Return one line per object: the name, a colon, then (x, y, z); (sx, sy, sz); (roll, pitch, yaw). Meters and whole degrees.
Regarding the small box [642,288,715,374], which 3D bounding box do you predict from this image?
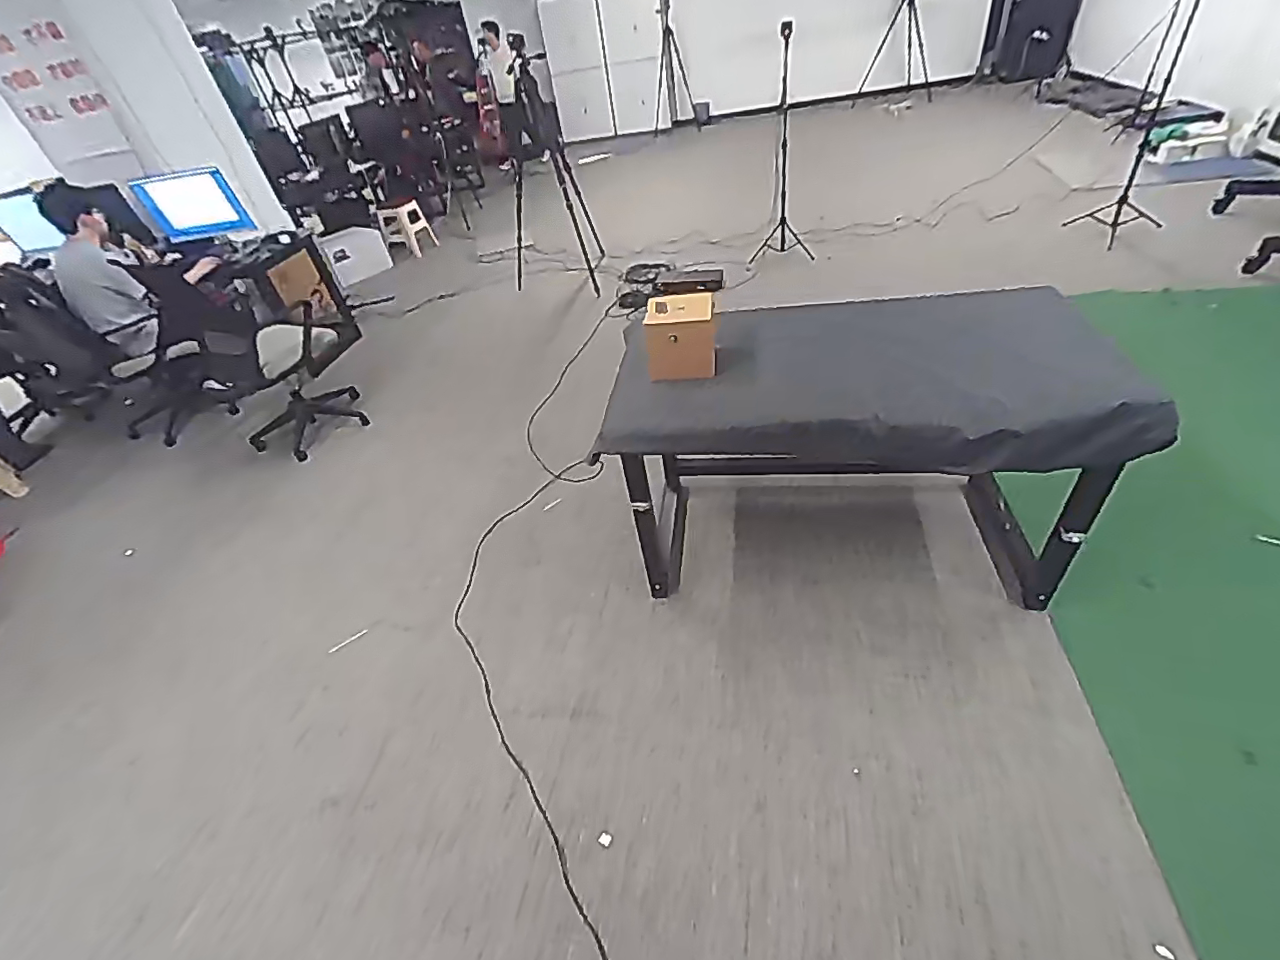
small box: (0.110, -0.400, 1.464); (0.179, 0.176, 0.168); (-1, 42, 10)
